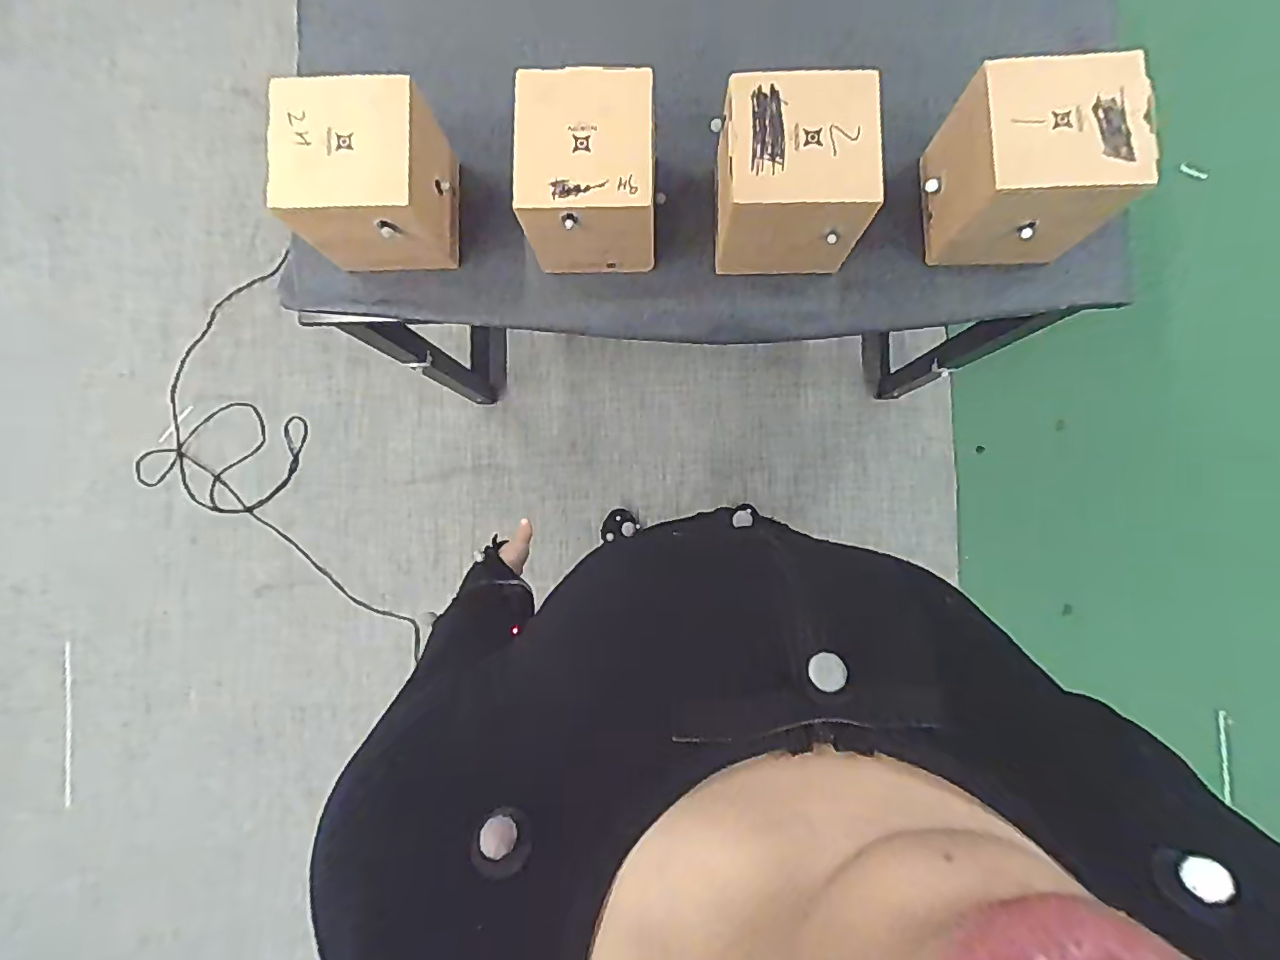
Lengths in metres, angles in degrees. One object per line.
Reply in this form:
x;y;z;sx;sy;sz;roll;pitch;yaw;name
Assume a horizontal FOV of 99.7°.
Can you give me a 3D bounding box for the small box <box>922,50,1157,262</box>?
0.484;-0.392;0.681;0.179;0.176;0.168;0;83;4;small box
